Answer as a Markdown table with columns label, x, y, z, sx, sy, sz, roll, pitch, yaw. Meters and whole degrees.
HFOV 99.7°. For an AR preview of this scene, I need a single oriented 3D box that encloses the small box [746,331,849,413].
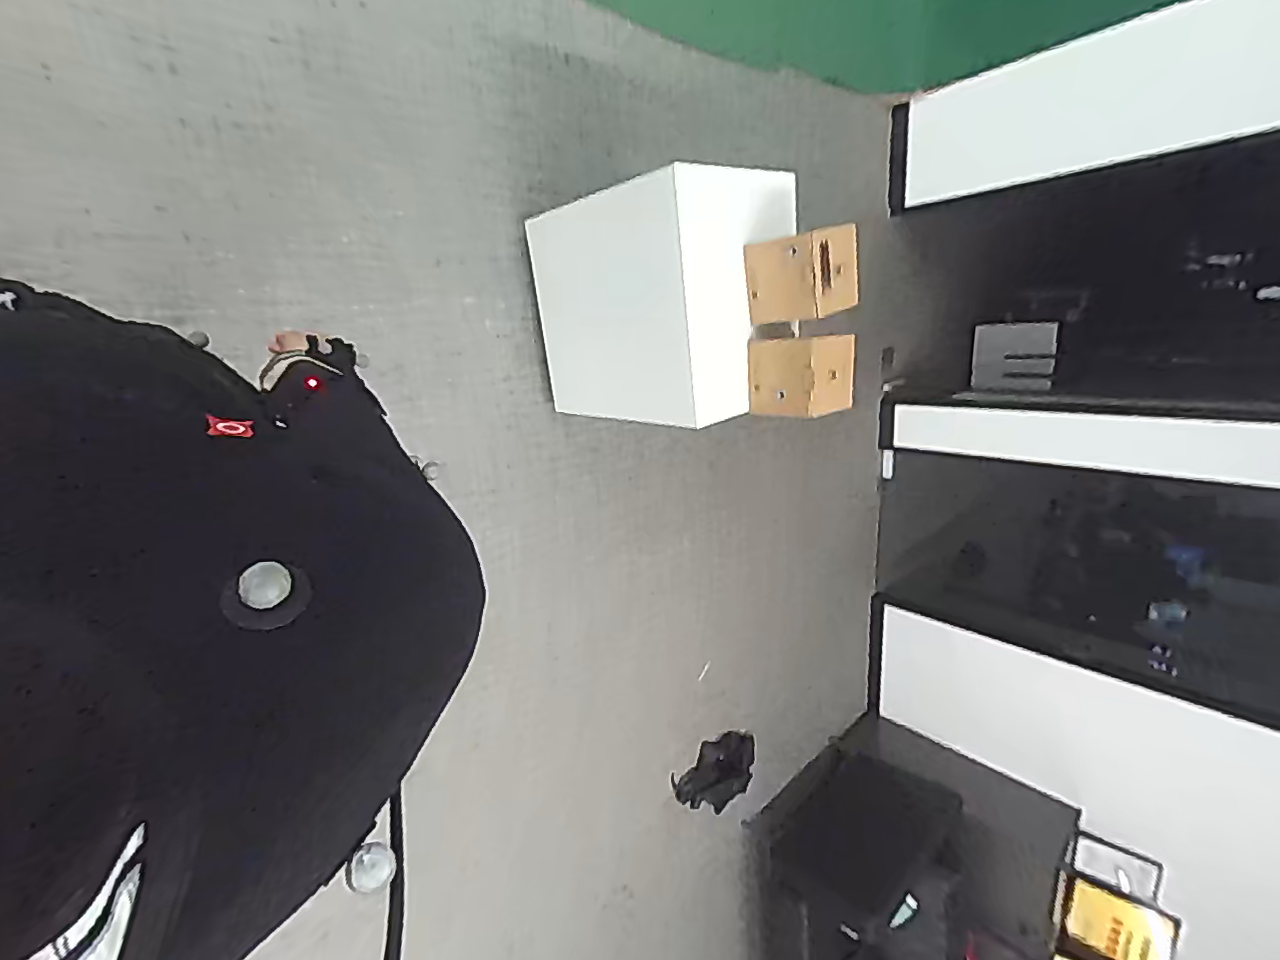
| label | x | y | z | sx | sy | sz | roll | pitch | yaw |
| --- | --- | --- | --- | --- | --- | --- | --- | --- | --- |
| small box | 0.357 | -0.248 | 1.238 | 0.179 | 0.176 | 0.168 | -18 | 111 | -39 |
